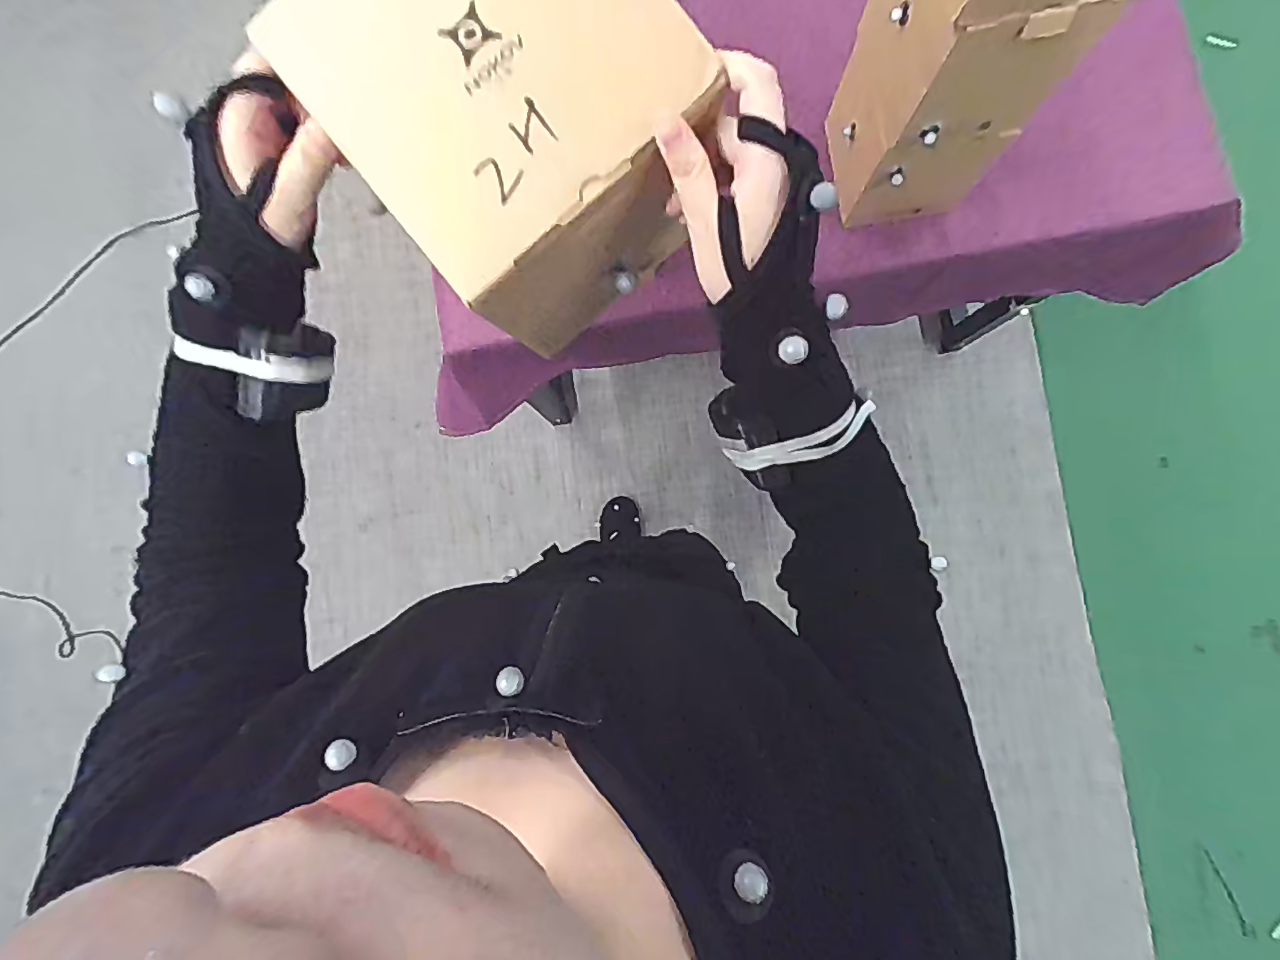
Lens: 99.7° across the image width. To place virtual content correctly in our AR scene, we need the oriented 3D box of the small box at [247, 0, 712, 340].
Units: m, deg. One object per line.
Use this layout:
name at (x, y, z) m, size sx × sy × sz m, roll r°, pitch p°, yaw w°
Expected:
small box at (-0.076, -0.214, 0.340) m, size 0.168 × 0.176 × 0.179 m, roll -36°, pitch 91°, yaw 5°

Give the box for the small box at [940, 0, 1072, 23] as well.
small box at (0.349, -0.515, 0.420) m, size 0.179 × 0.176 × 0.168 m, roll -12°, pitch 84°, yaw 2°

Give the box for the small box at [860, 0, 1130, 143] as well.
small box at (0.360, -0.498, 0.581) m, size 0.168 × 0.176 × 0.179 m, roll -11°, pitch 83°, yaw 1°
